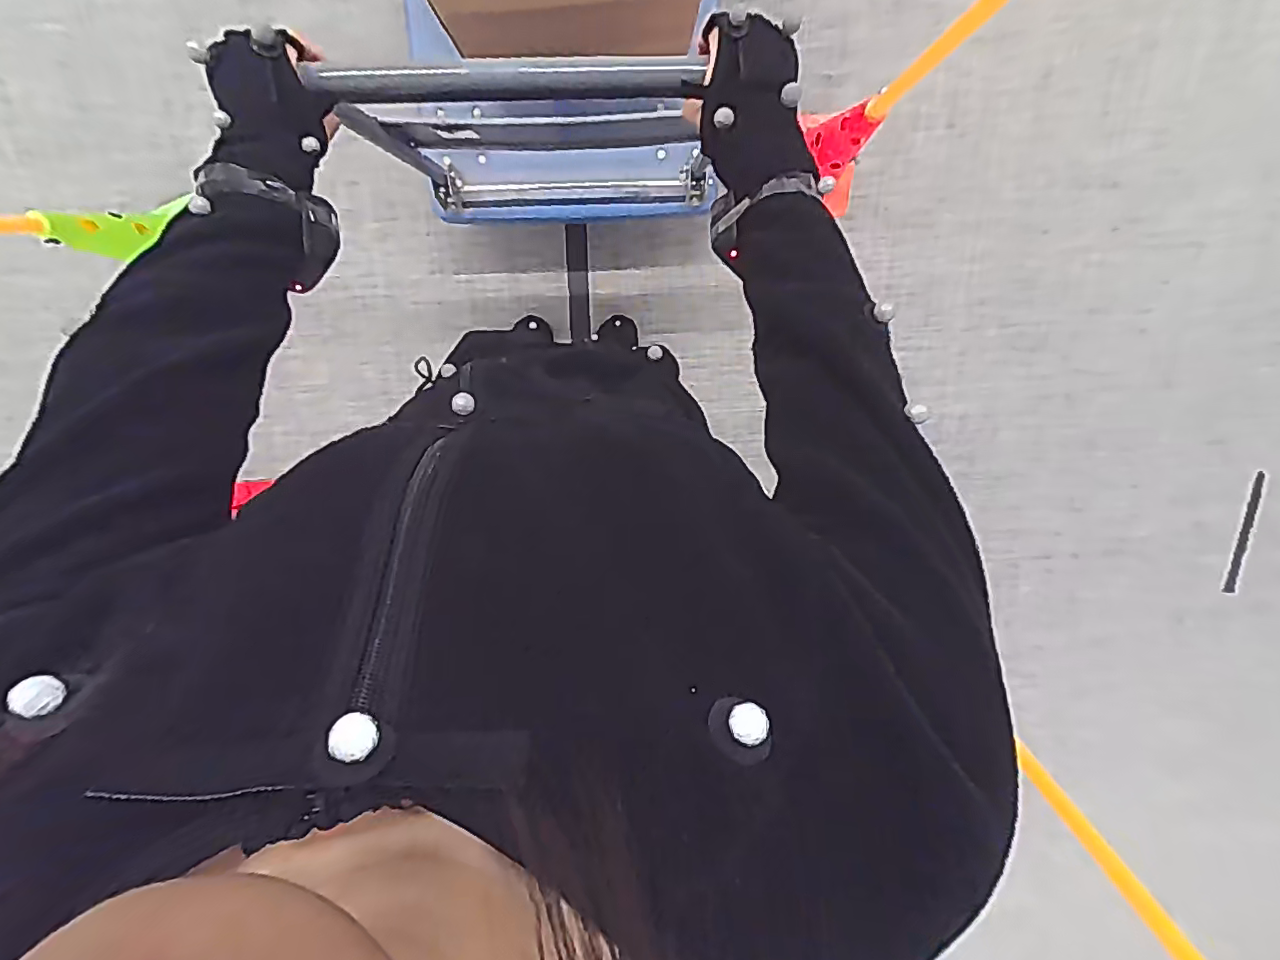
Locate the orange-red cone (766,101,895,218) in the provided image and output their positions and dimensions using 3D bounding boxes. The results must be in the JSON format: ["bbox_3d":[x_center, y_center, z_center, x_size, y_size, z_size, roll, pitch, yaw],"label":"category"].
[{"bbox_3d":[0.399,-0.658,1.058,0.199,0.360,0.198,4,107,-4],"label":"orange-red cone"}]
